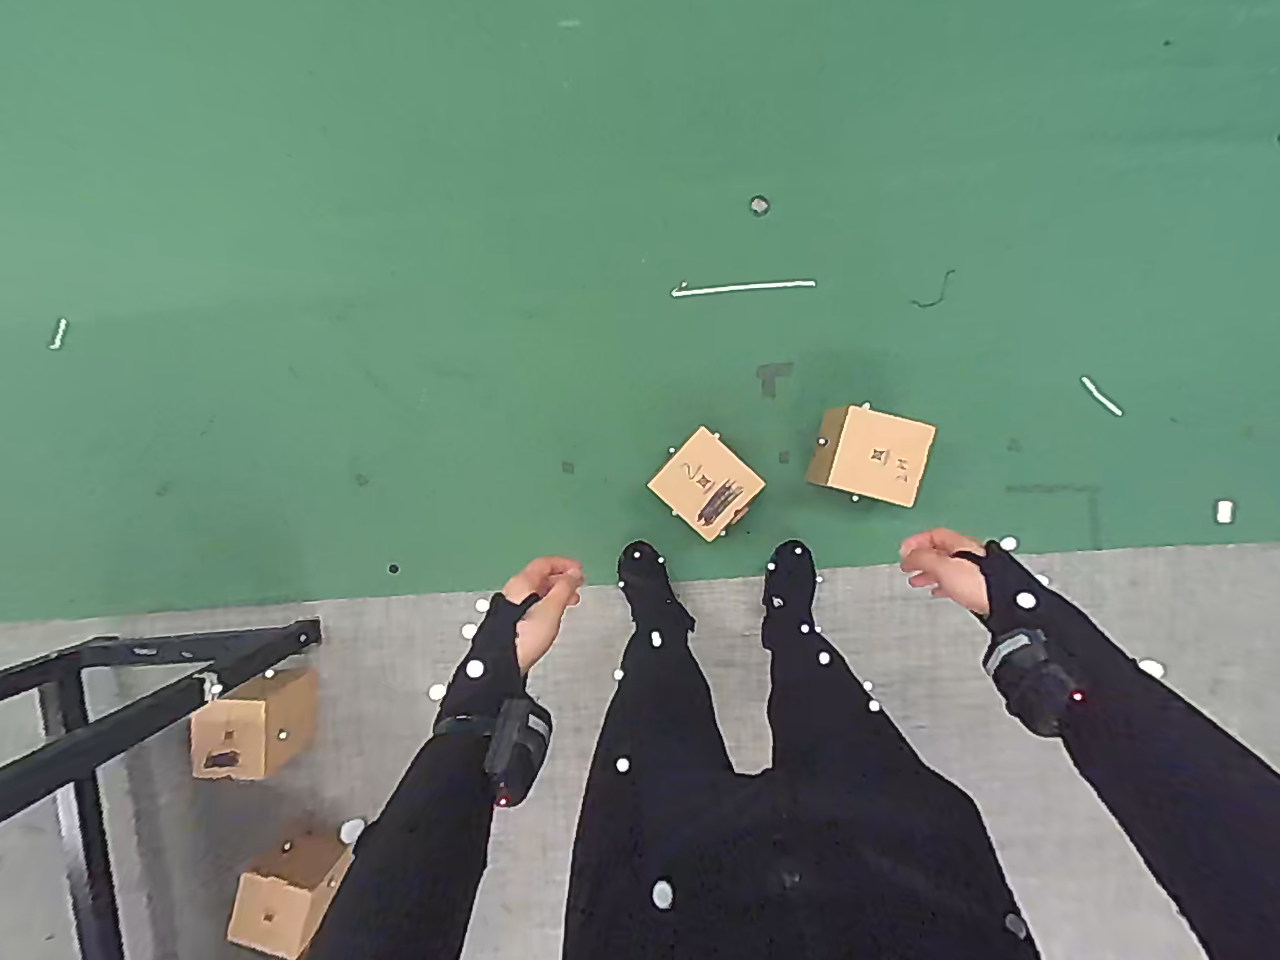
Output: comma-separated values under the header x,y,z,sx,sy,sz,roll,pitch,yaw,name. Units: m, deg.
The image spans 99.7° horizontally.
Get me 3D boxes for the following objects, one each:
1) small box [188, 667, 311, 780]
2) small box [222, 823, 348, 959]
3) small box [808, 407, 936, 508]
x,y,z,sx,sy,sz,roll,pitch,yaw,name
-0.880,0.547,1.232,0.168,0.176,0.179,1,93,2,small box
-0.813,0.948,1.257,0.168,0.176,0.179,16,96,2,small box
0.475,-0.048,1.138,0.179,0.176,0.168,15,95,1,small box
